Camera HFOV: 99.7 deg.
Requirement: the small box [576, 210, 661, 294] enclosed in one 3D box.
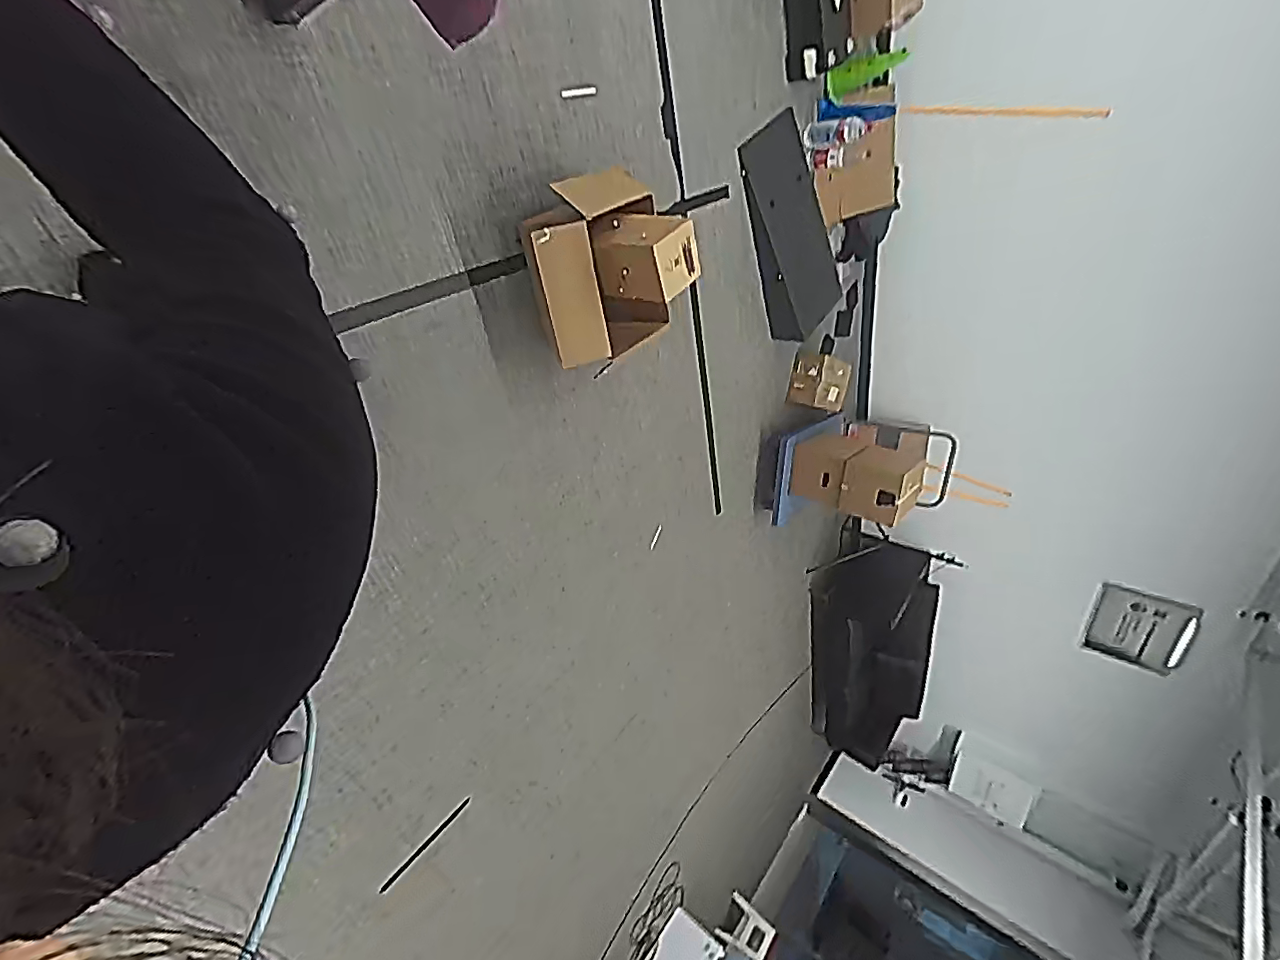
[{"bbox_3d":[-0.067,-0.699,1.658,0.168,0.176,0.179,-54,142,-18],"label":"small box"}]
